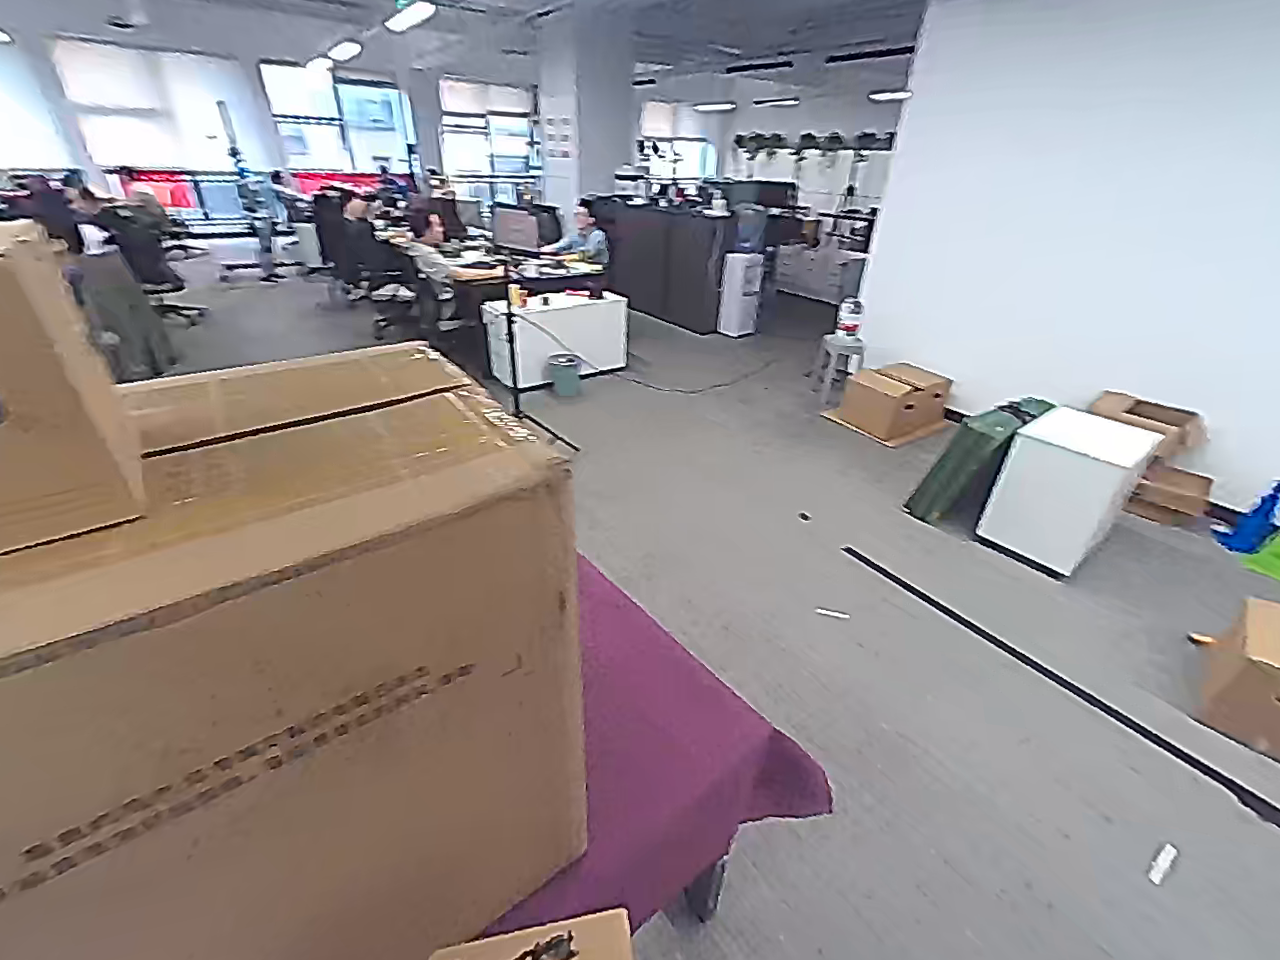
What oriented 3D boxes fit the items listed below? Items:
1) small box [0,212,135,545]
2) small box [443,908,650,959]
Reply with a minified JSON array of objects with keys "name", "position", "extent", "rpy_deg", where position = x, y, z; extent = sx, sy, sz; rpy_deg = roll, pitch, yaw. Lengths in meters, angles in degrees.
[{"name":"small box","position":[-0.440,-0.057,0.320],"extent":[0.179,0.176,0.168],"rpy_deg":[-23,38,-35]},{"name":"small box","position":[-0.061,0.472,0.390],"extent":[0.168,0.176,0.179],"rpy_deg":[-5,16,-8]}]
